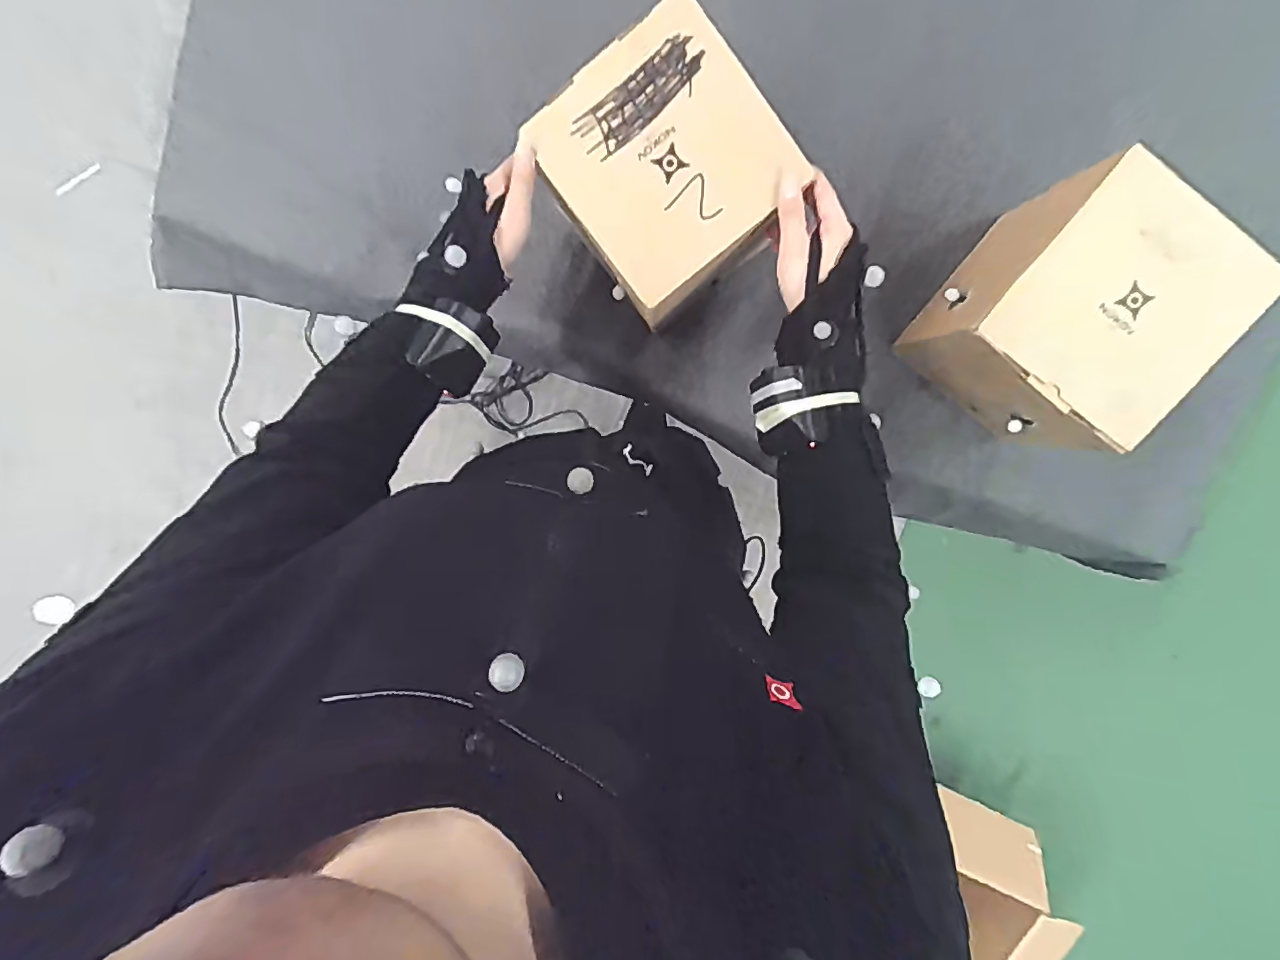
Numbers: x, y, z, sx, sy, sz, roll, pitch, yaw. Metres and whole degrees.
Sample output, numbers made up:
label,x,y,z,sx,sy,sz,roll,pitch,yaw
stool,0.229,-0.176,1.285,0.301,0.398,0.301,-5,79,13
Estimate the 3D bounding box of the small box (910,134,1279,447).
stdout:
label,x,y,z,sx,sy,sz,roll,pitch,yaw
small box,0.382,-0.151,0.492,0.168,0.176,0.179,37,98,-4
